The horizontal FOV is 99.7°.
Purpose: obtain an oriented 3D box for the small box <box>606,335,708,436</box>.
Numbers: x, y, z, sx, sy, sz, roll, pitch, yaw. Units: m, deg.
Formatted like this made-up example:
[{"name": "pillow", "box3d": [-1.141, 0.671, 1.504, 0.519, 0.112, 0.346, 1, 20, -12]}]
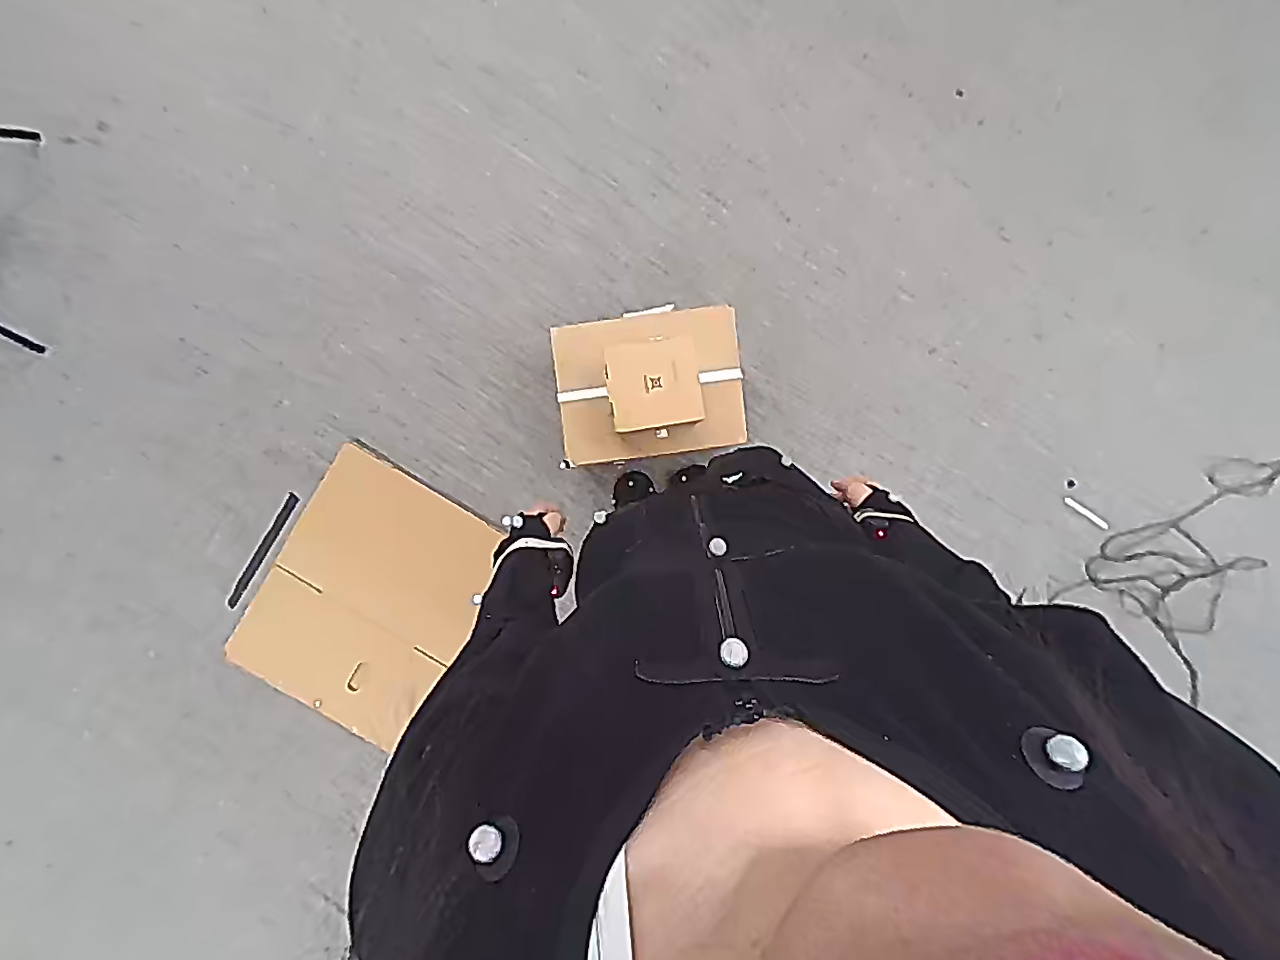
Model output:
[{"name": "small box", "box3d": [0.033, -0.185, 1.101, 0.179, 0.176, 0.168, -9, 93, 0]}]
